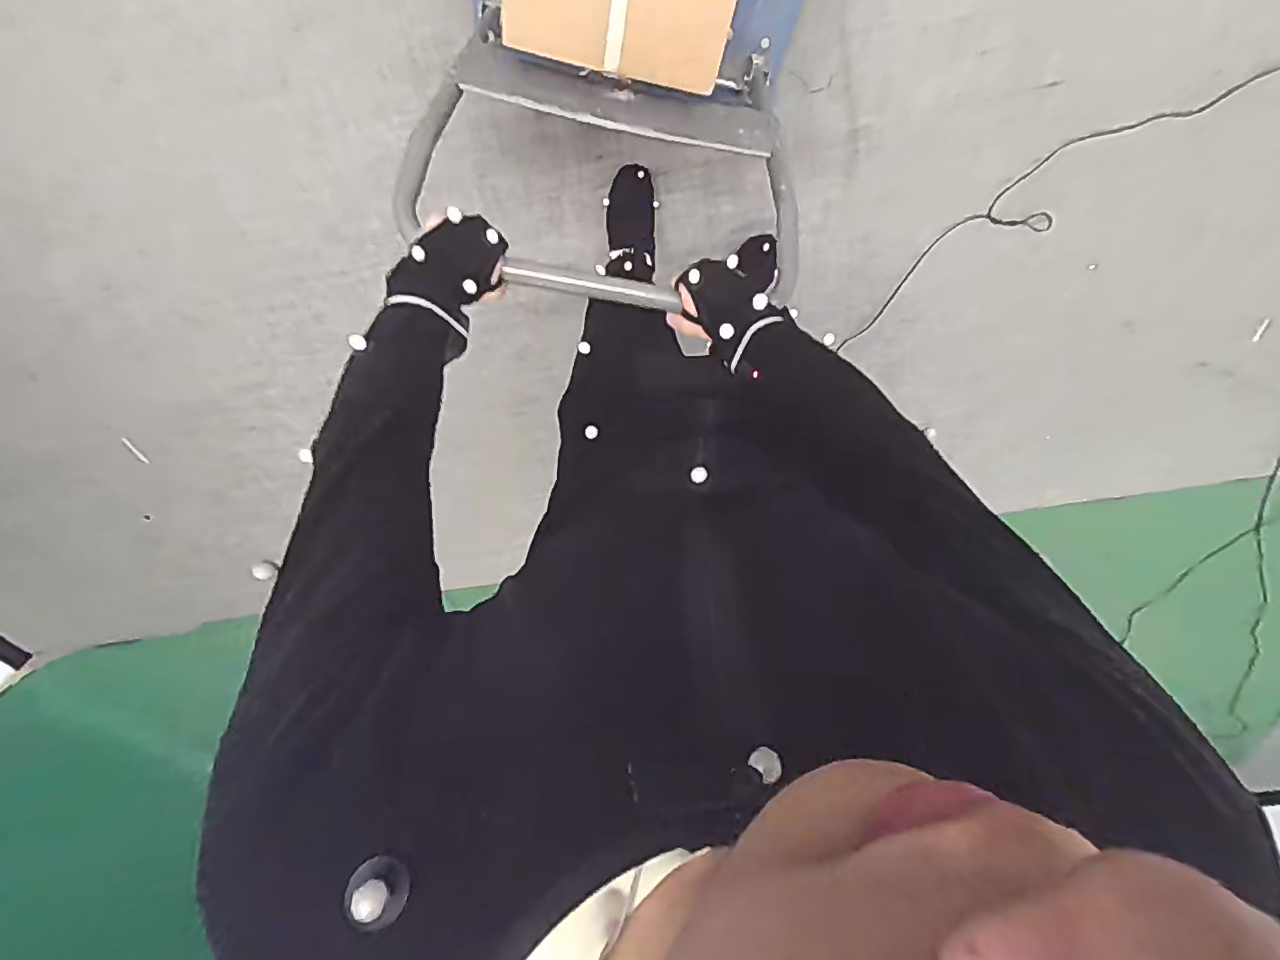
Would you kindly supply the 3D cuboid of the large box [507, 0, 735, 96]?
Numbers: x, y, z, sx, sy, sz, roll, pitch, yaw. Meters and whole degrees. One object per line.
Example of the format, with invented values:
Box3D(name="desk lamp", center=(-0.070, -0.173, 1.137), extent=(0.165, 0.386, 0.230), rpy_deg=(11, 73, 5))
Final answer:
Box3D(name="large box", center=(-0.001, -0.843, 0.754), extent=(0.320, 0.320, 0.408), rpy_deg=(8, 141, -7))
